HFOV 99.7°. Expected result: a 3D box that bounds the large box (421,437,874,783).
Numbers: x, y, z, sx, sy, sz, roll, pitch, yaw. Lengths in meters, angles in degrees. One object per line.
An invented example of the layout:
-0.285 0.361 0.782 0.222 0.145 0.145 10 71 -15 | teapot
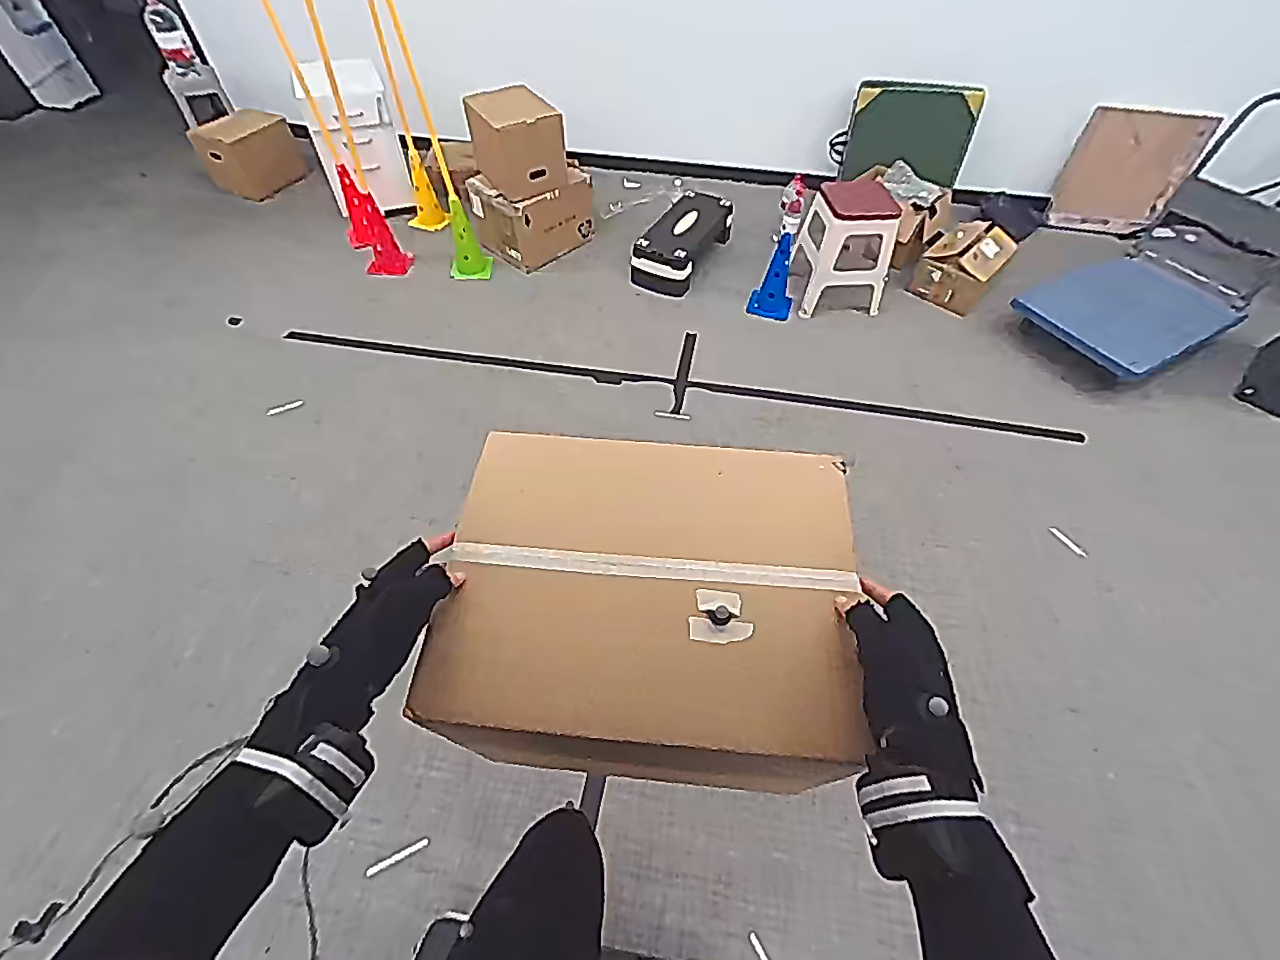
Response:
0.012 0.171 0.670 0.408 0.320 0.320 5 57 2 | large box
